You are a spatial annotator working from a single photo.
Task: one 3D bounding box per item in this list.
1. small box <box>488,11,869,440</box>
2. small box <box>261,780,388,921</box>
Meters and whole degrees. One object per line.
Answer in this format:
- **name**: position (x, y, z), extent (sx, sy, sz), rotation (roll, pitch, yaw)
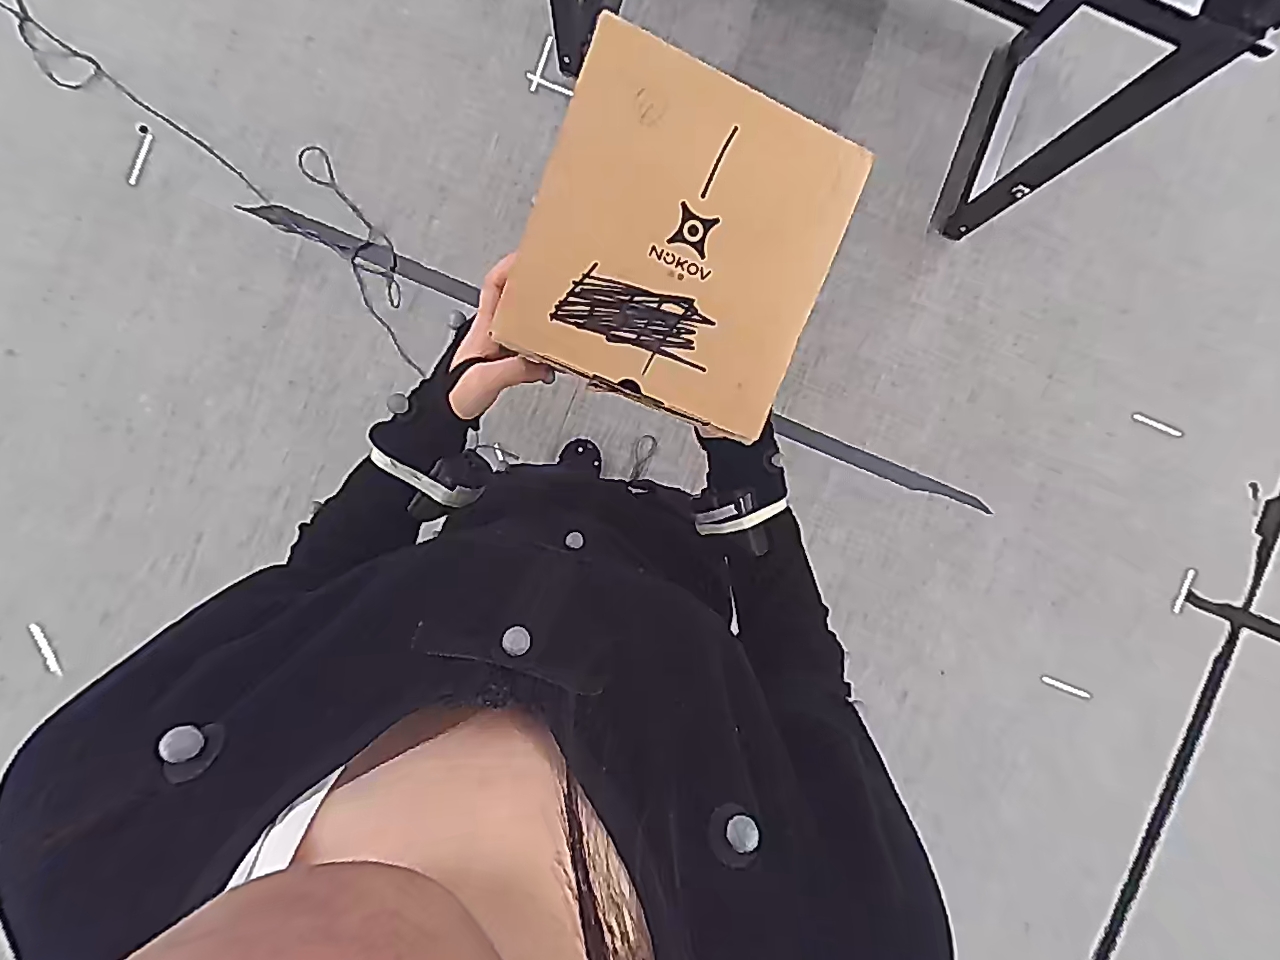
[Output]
- **small box**: position (0.014, -0.144, 0.375), extent (0.168, 0.176, 0.179), rotation (21, 96, -11)
- **small box**: position (-0.712, 0.841, 1.244), extent (0.168, 0.176, 0.179), rotation (24, 90, -3)
